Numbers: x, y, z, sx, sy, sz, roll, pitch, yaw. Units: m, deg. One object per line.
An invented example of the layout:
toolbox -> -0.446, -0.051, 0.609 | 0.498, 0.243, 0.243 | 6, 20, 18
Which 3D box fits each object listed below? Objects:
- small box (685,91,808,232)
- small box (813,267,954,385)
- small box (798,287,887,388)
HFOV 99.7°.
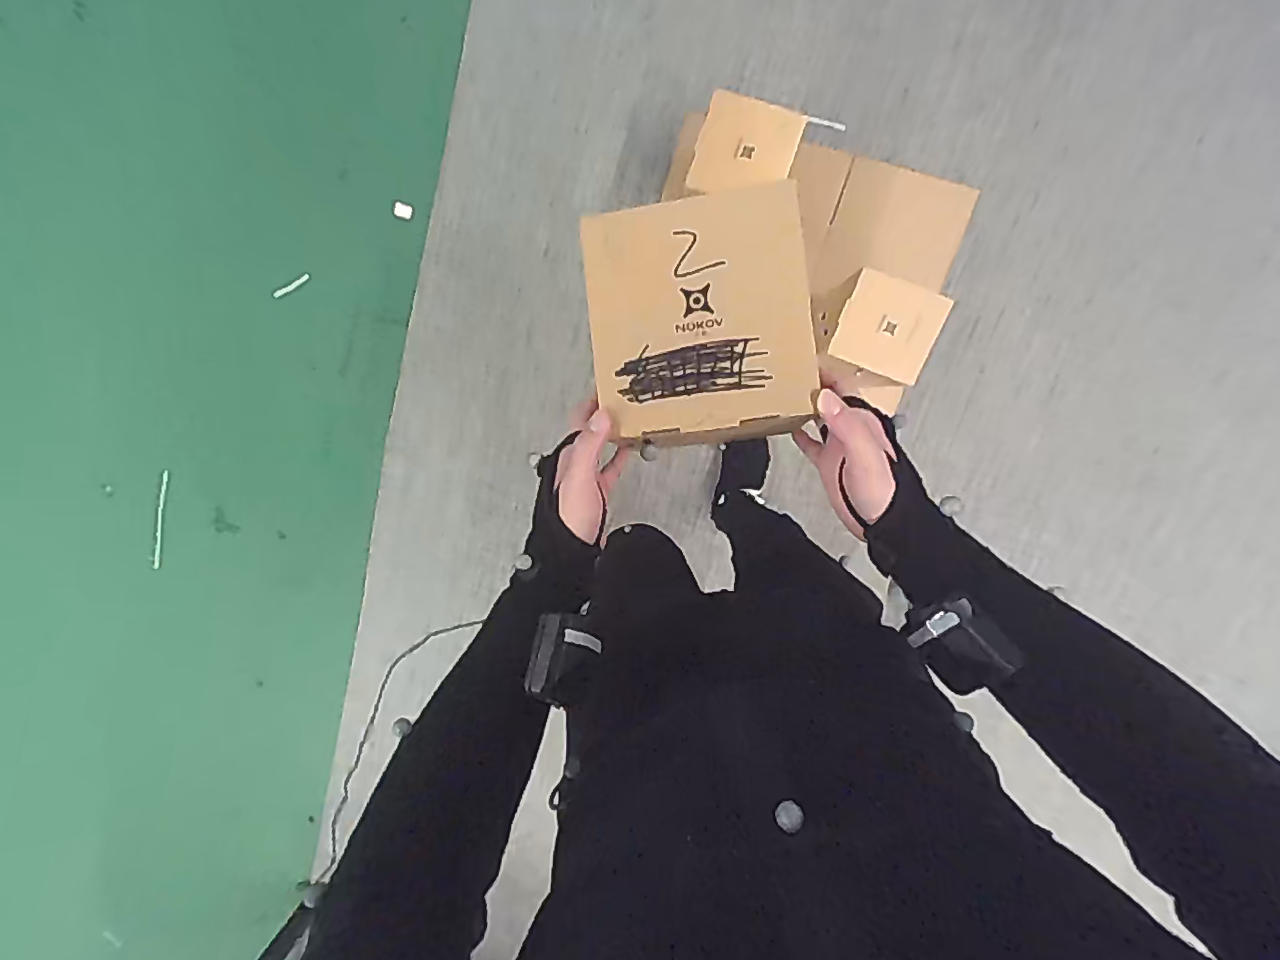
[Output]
small box -> 0.197, -0.597, 1.038 | 0.179, 0.176, 0.168 | 19, 102, 3
small box -> 0.463, -0.292, 1.062 | 0.179, 0.176, 0.168 | 23, 102, 2
small box -> 0.482, -0.317, 1.223 | 0.179, 0.176, 0.168 | 20, 101, 3
